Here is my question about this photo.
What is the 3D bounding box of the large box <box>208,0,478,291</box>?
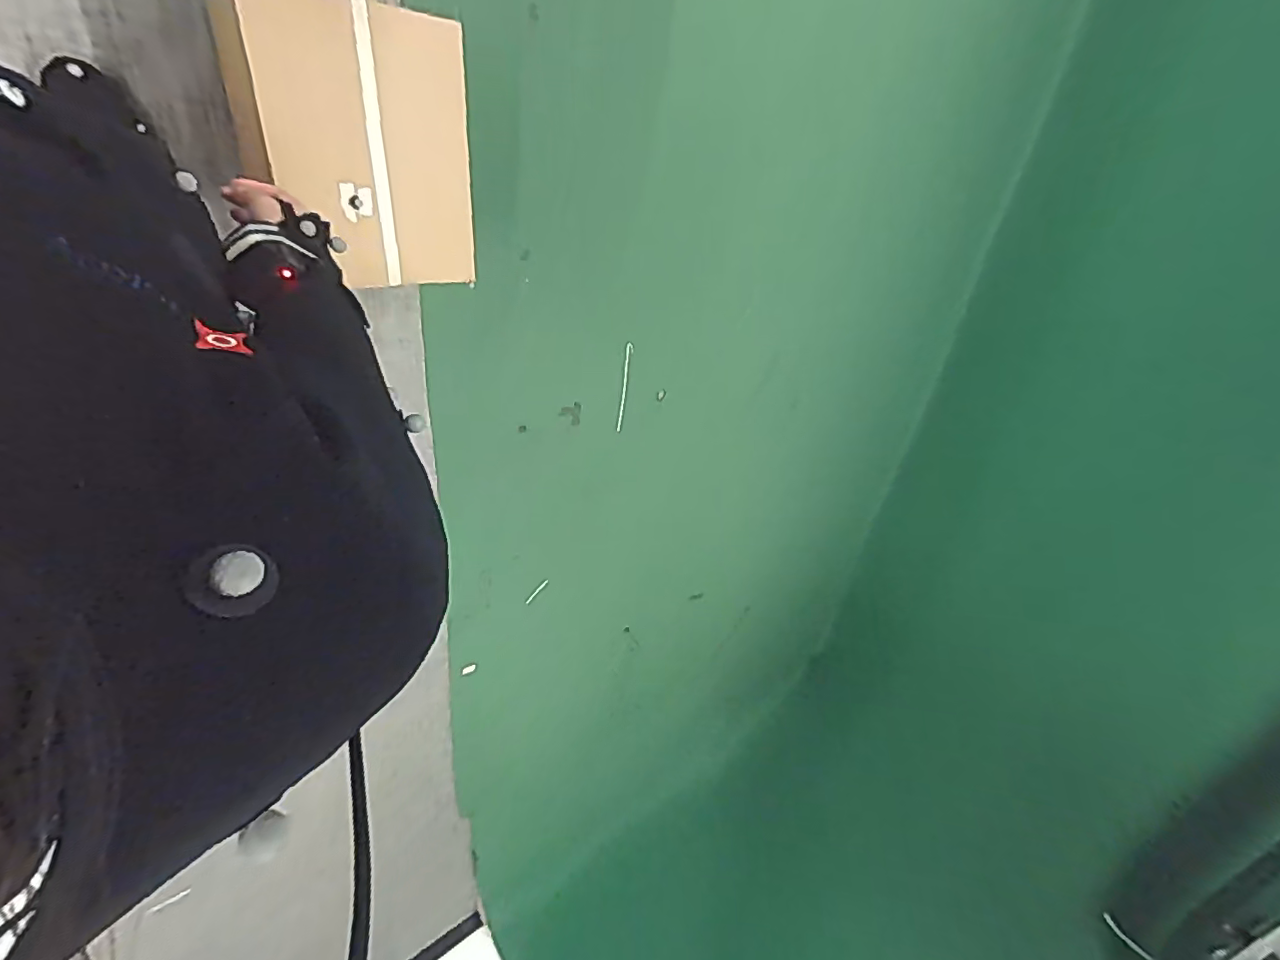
[{"bbox_3d":[-0.517,-0.592,0.979,0.320,0.320,0.408,-18,128,-34],"label":"large box"}]
